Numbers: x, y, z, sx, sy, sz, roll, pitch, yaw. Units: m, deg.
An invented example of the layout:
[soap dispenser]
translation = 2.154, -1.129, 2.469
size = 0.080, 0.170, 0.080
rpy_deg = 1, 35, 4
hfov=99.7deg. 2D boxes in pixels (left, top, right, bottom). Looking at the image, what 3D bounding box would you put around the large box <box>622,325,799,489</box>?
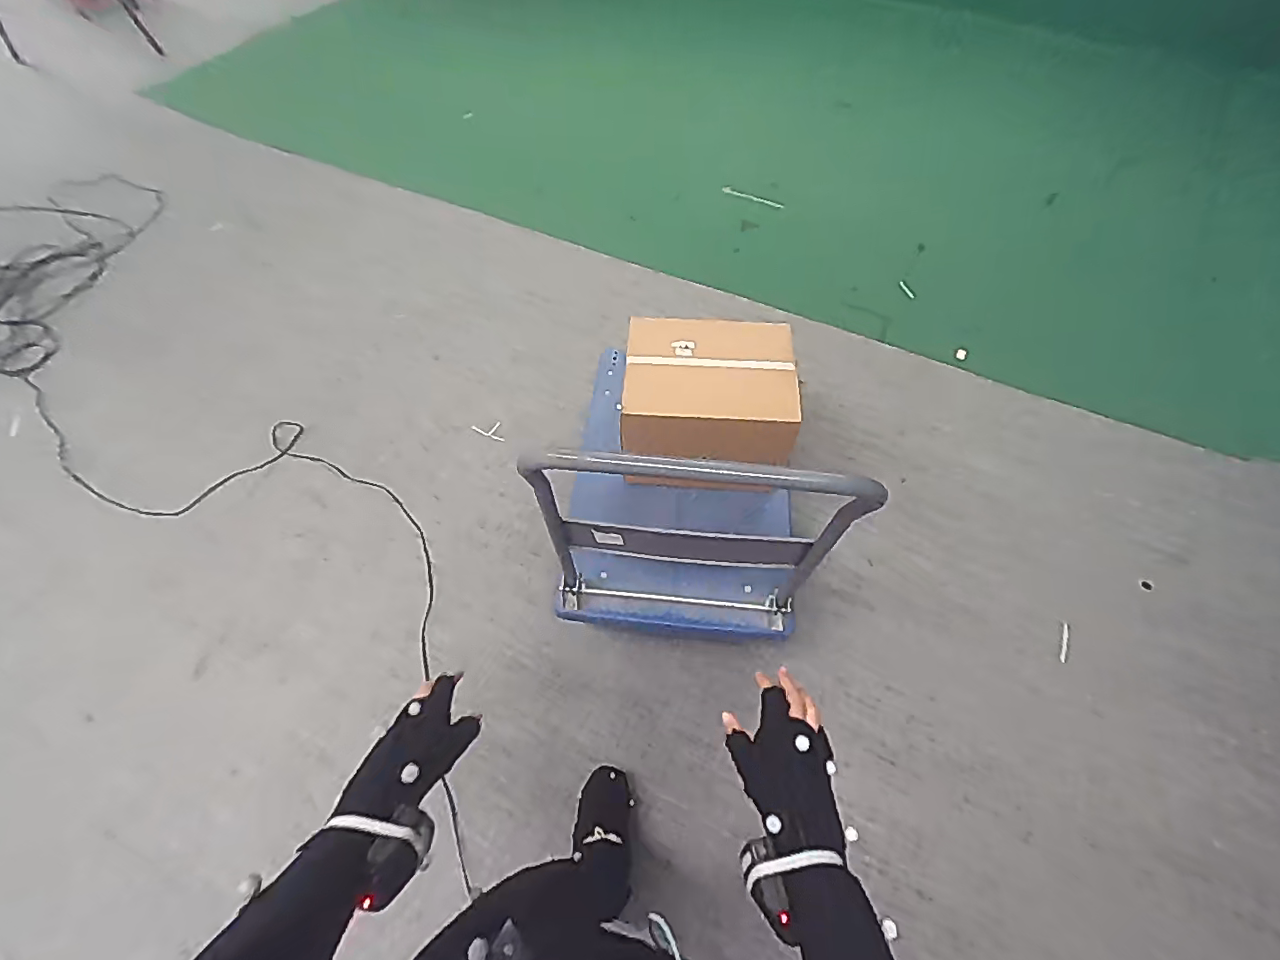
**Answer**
[large box]
translation = 0.168, -0.184, 1.417
size = 0.408, 0.320, 0.320
rpy_deg = 2, 58, 2
